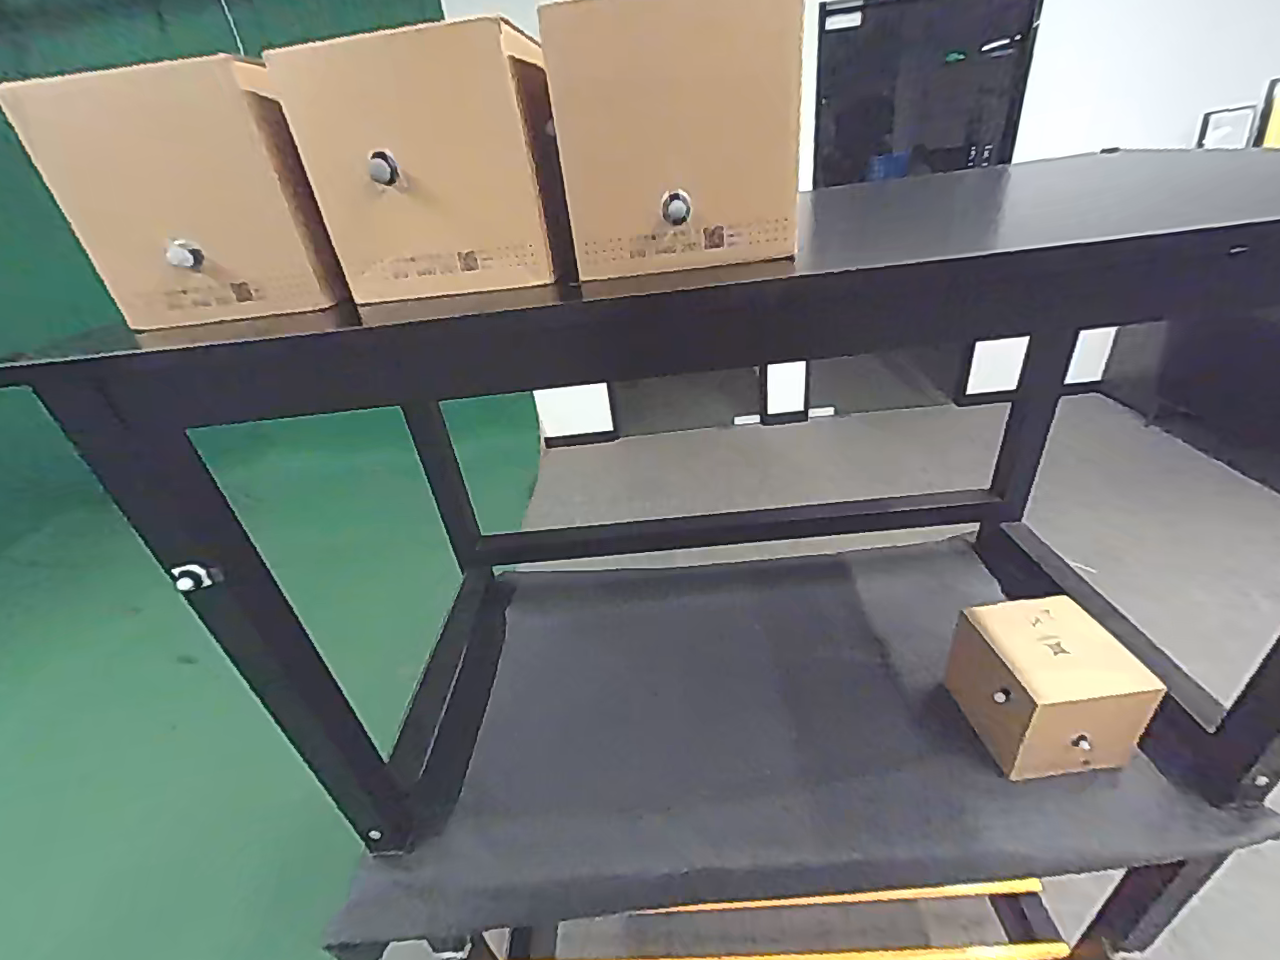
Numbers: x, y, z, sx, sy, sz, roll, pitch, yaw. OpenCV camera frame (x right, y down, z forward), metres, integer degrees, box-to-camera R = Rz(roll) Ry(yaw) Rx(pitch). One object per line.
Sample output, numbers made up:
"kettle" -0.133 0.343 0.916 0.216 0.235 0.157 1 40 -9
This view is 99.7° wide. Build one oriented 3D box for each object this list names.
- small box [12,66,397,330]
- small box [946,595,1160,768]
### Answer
"small box" -0.338 -0.240 0.473 0.168 0.176 0.179 -6 32 2
"small box" 0.585 0.299 0.797 0.168 0.176 0.179 -7 30 0
